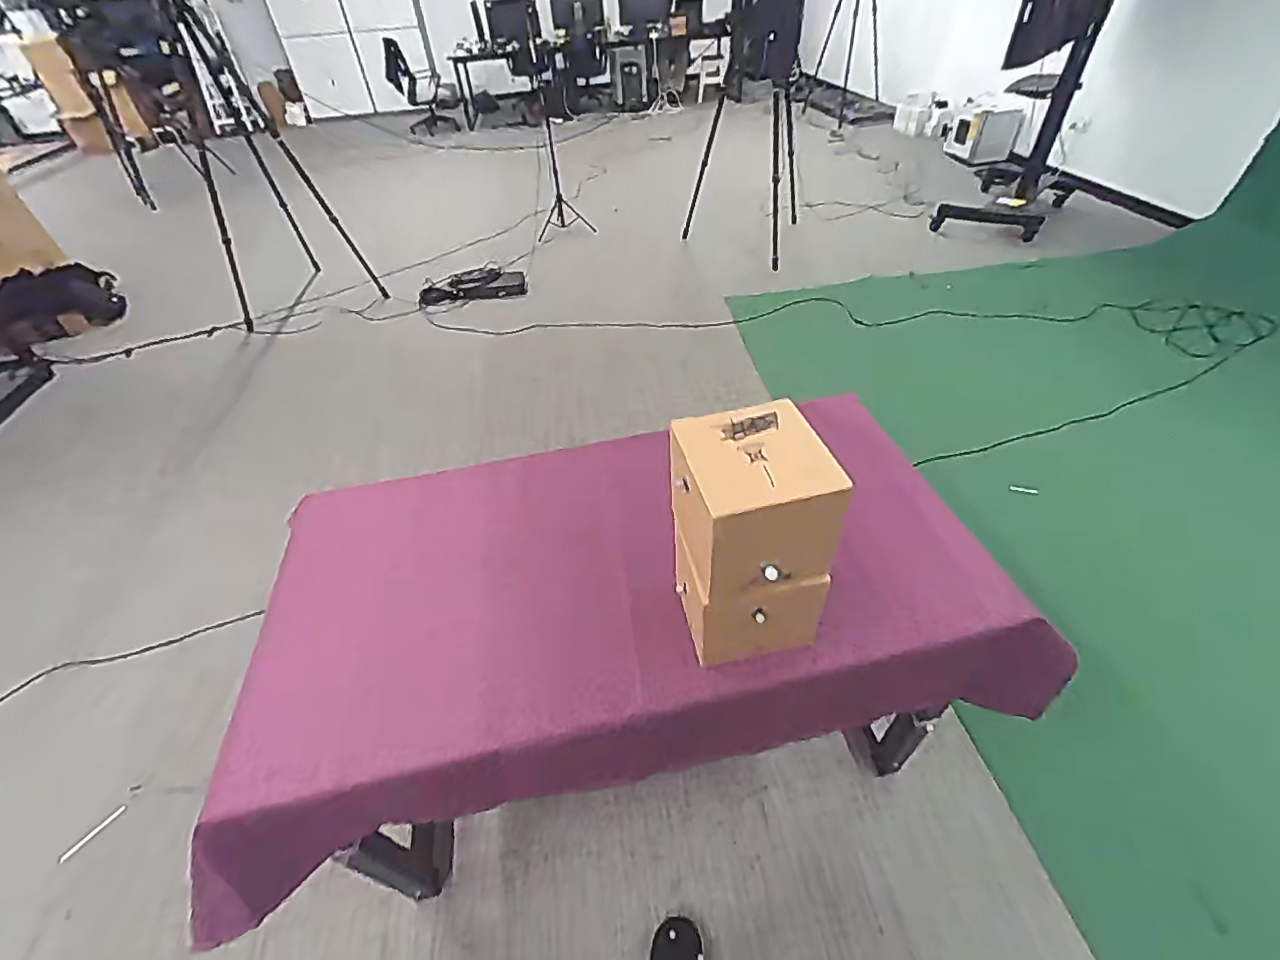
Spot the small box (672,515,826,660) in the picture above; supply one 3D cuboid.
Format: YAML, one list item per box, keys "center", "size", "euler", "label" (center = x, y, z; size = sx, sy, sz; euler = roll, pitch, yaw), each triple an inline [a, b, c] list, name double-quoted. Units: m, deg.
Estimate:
- center: [0.153, 0.147, 0.808]
  size: [0.179, 0.176, 0.168]
  euler: [-10, 45, -4]
  label: "small box"

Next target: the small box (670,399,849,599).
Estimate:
- center: [0.139, 0.024, 0.700]
  size: [0.168, 0.176, 0.179]
  euler: [-12, 45, -6]
  label: "small box"
